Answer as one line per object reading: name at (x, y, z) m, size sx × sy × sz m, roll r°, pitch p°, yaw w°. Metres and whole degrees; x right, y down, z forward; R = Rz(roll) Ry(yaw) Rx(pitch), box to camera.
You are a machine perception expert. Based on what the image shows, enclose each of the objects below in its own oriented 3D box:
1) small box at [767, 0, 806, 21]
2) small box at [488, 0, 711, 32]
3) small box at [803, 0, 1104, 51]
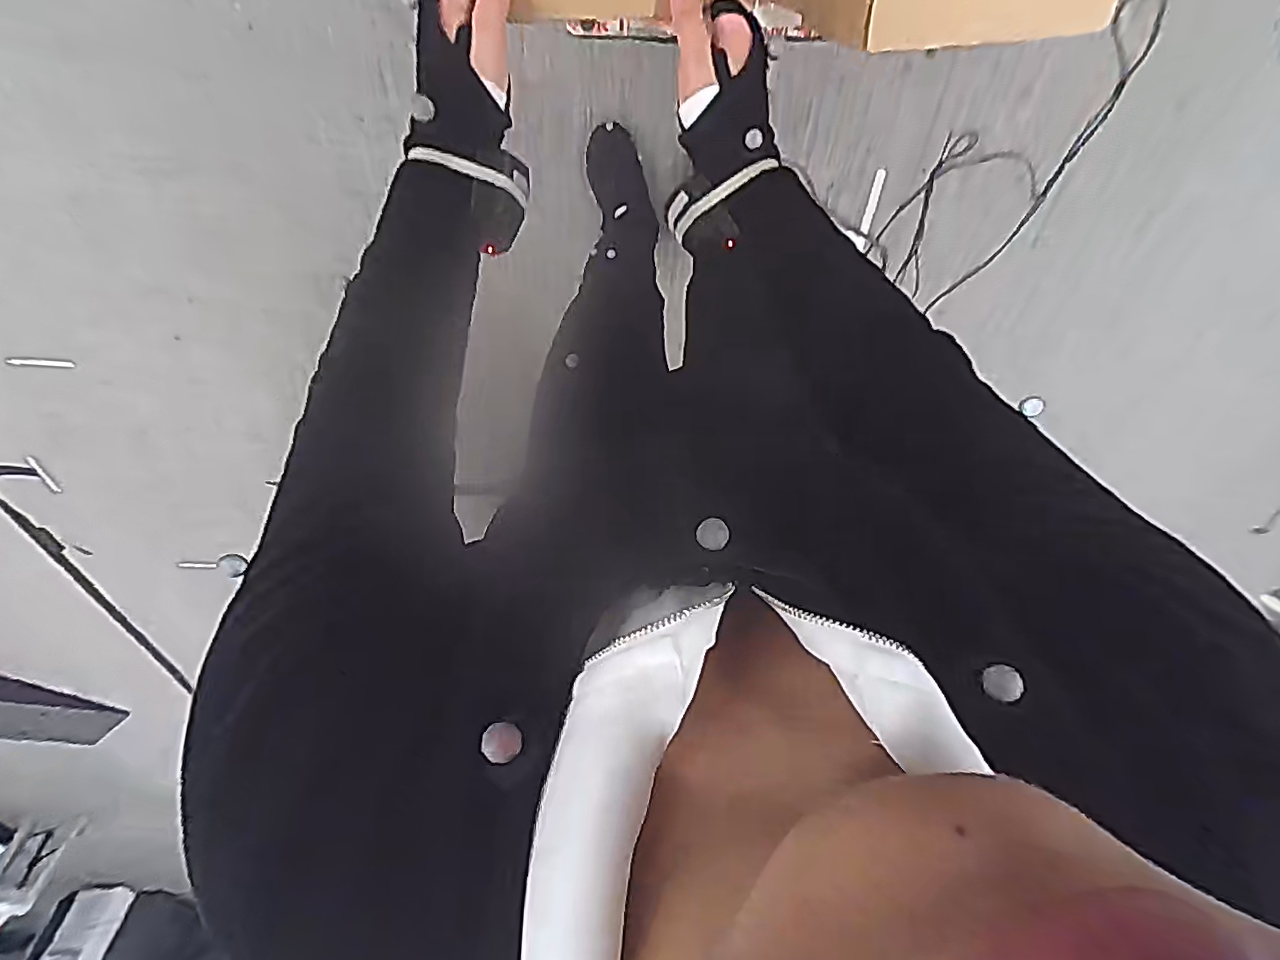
small box at (0.226, -0.552, 0.507) m, size 0.179 × 0.176 × 0.168 m, roll -4°, pitch 136°, yaw 0°
small box at (-0.036, -0.455, 0.398) m, size 0.168 × 0.176 × 0.179 m, roll -3°, pitch 136°, yaw 0°
small box at (0.233, -0.430, 0.393) m, size 0.179 × 0.176 × 0.168 m, roll -5°, pitch 136°, yaw 0°
